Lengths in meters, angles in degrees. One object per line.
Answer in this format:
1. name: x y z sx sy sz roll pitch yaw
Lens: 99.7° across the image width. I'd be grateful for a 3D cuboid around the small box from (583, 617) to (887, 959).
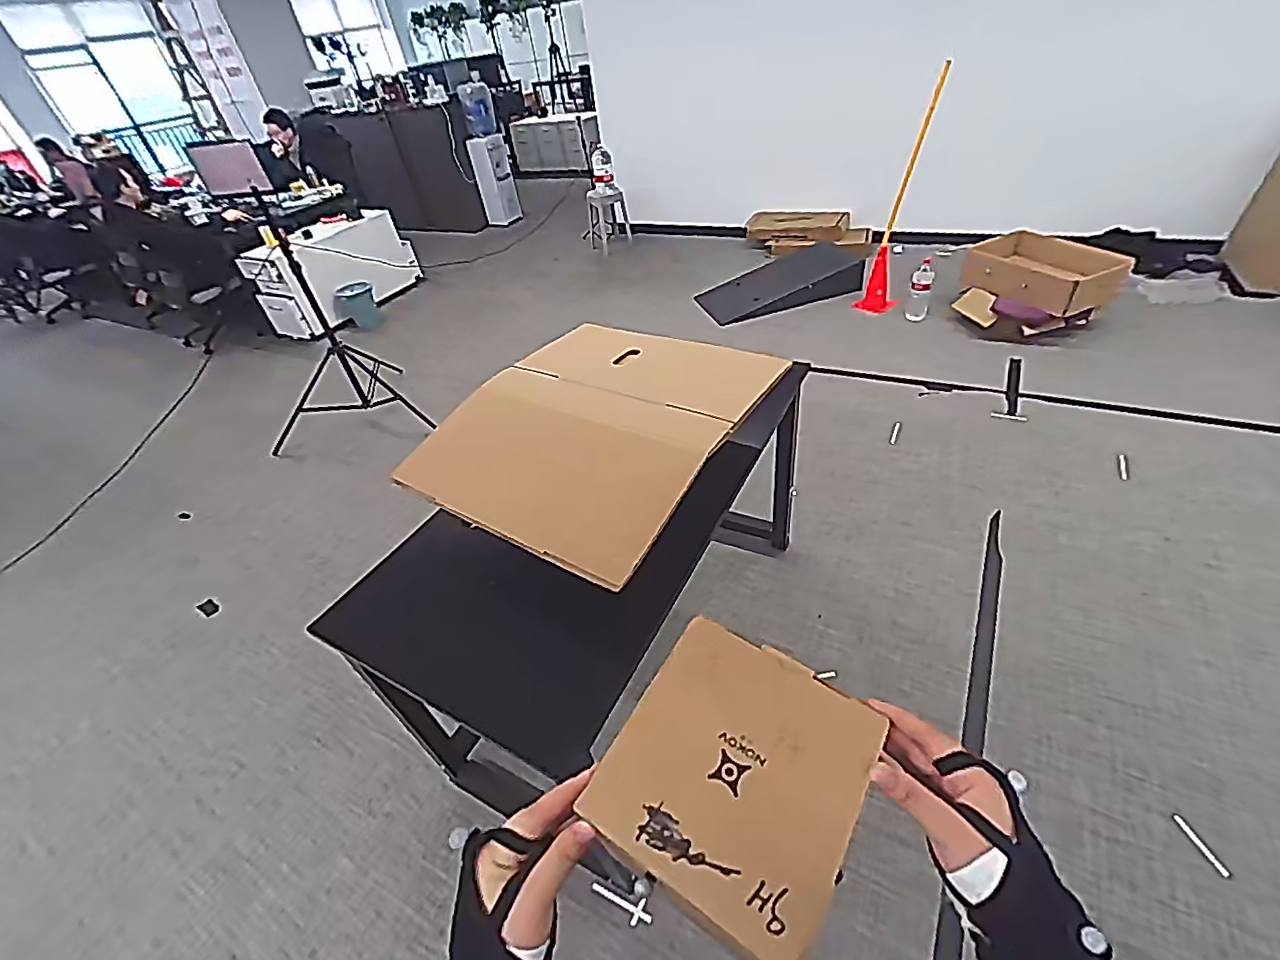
1. small box: 0.076 0.256 0.449 0.168 0.176 0.179 24 54 26
